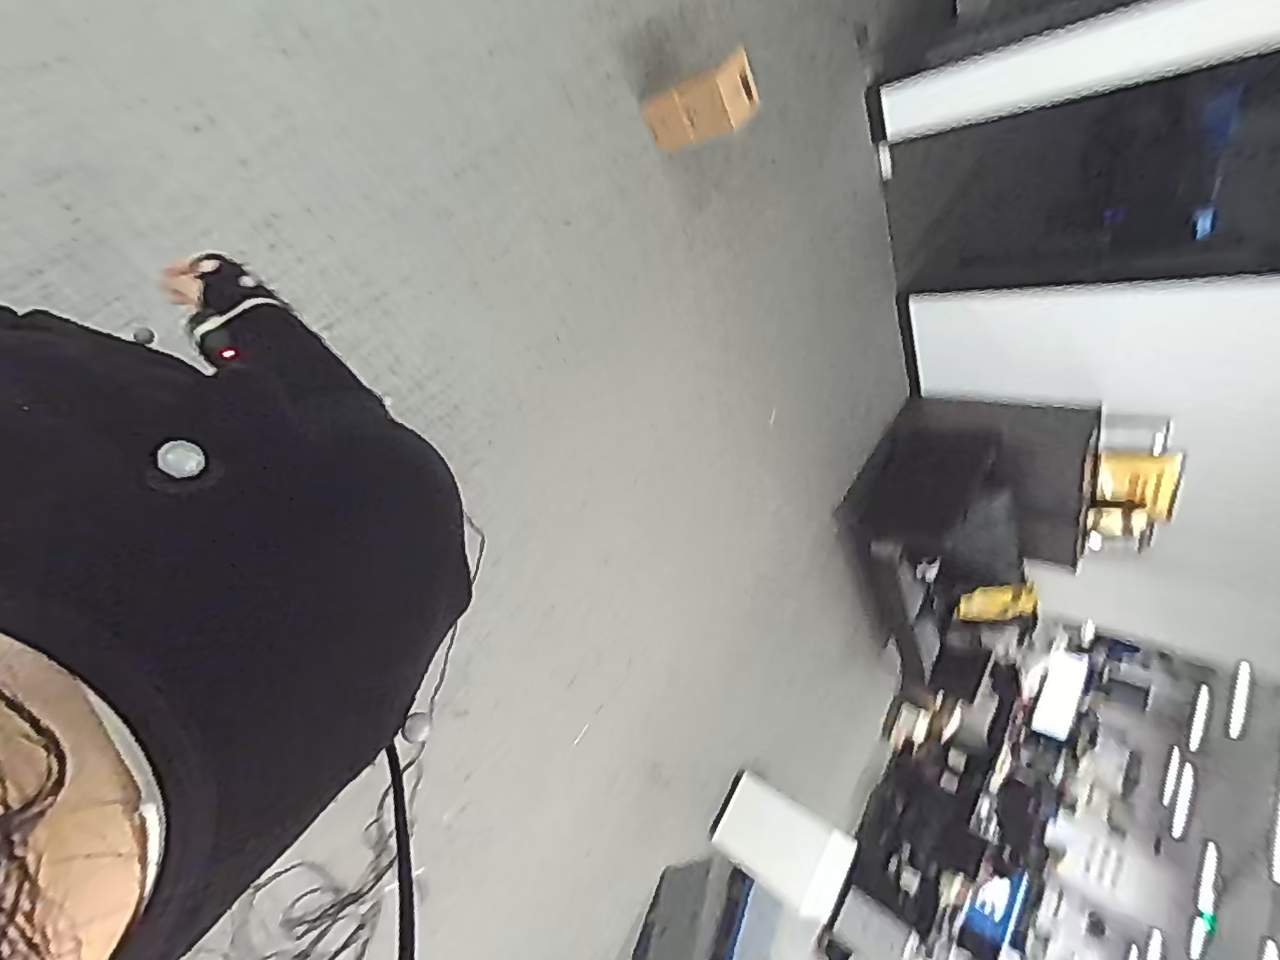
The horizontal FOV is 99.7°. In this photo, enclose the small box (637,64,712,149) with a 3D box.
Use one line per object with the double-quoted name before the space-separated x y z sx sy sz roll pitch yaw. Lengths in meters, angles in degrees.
"small box" 0.112 -1.273 1.856 0.179 0.176 0.168 -54 133 -19
